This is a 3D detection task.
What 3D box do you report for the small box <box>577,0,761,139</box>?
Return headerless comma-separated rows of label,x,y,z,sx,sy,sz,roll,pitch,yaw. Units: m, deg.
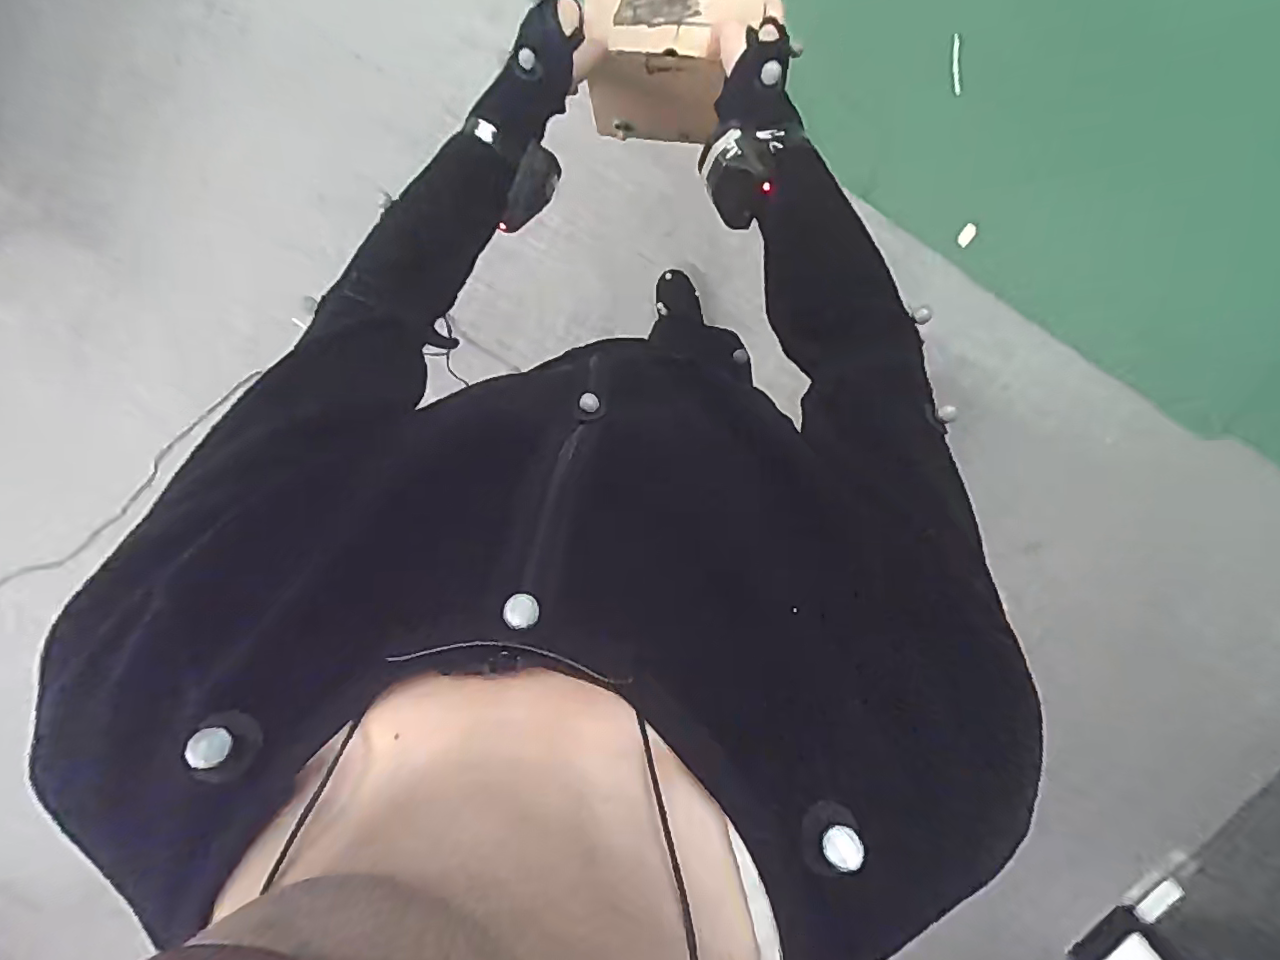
small box,0.033,-0.483,0.556,0.168,0.176,0.179,5,98,0
